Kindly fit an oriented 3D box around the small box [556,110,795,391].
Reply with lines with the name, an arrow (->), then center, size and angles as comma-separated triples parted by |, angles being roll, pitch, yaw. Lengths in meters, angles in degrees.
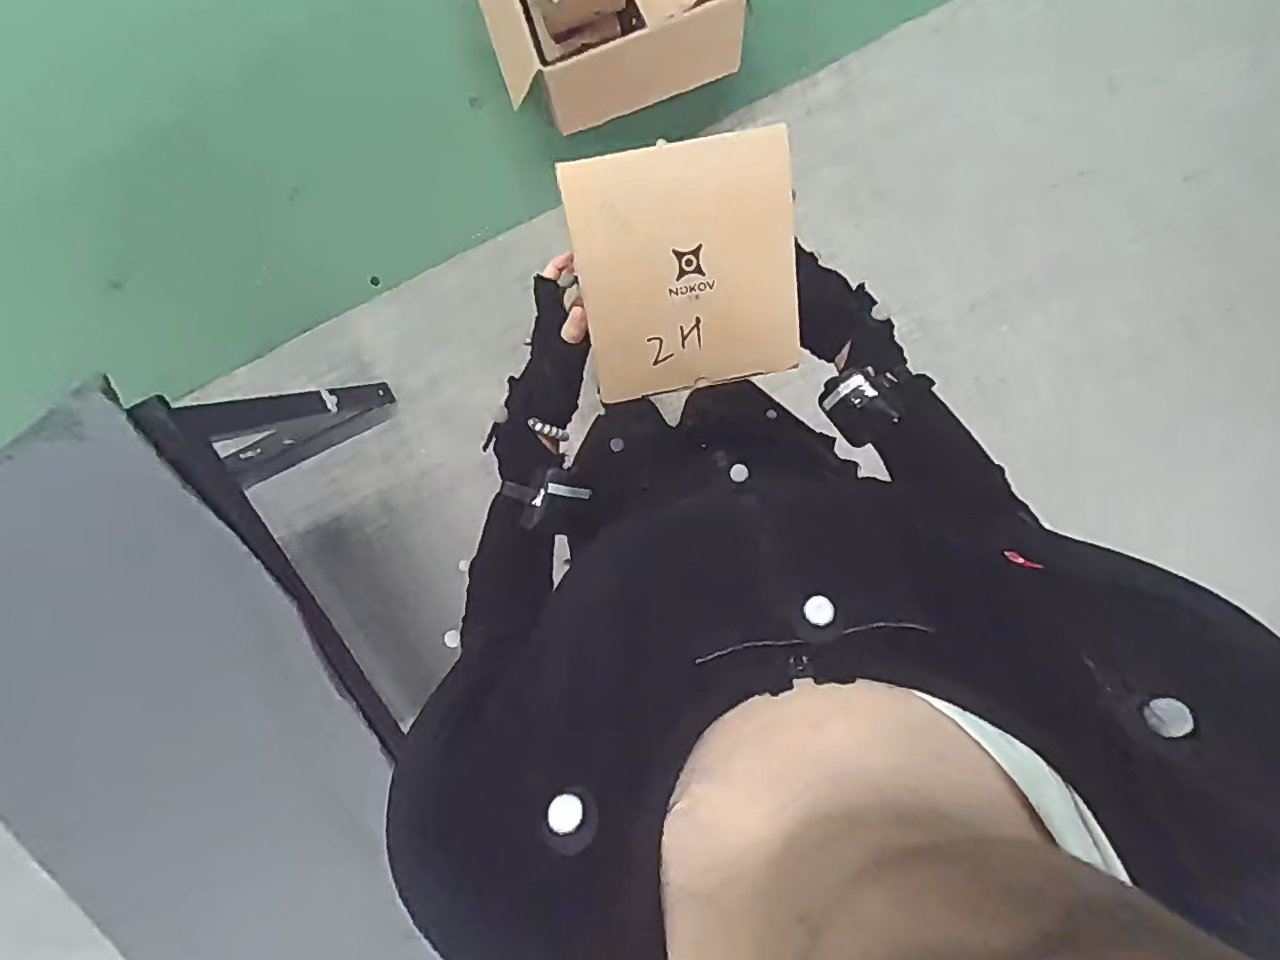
small box -> 0.025, -0.192, 0.474 | 0.168, 0.176, 0.179 | -10, 113, -1
